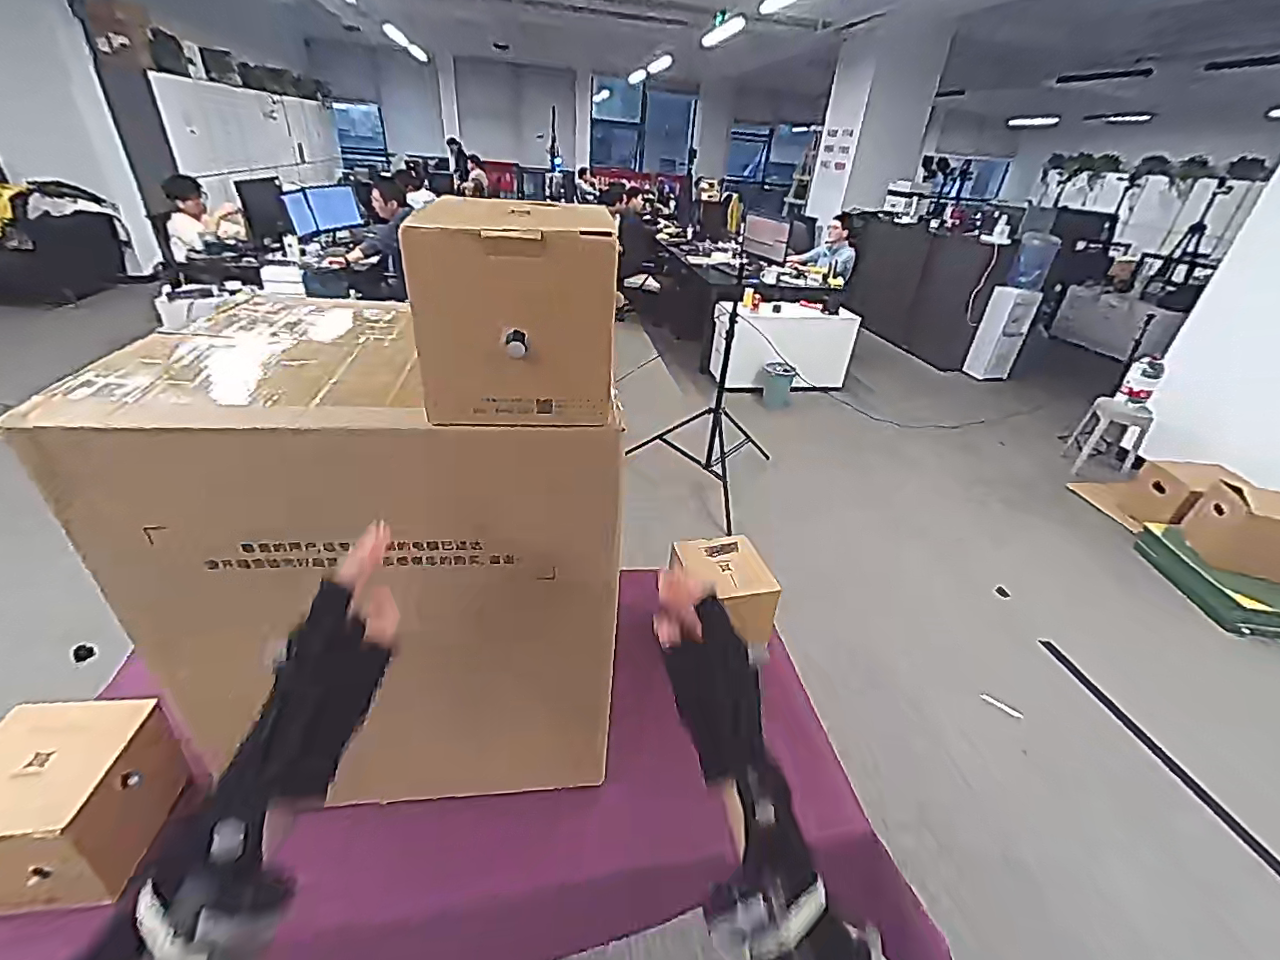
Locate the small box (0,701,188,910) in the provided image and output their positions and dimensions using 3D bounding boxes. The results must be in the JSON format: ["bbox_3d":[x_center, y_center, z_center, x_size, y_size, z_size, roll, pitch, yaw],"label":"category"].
[{"bbox_3d":[-0.727,0.411,0.688,0.168,0.176,0.179,2,28,-11],"label":"small box"}]

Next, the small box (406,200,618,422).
[{"bbox_3d":[-0.109,-0.165,0.525,0.168,0.176,0.179,-1,34,-8],"label":"small box"}]
